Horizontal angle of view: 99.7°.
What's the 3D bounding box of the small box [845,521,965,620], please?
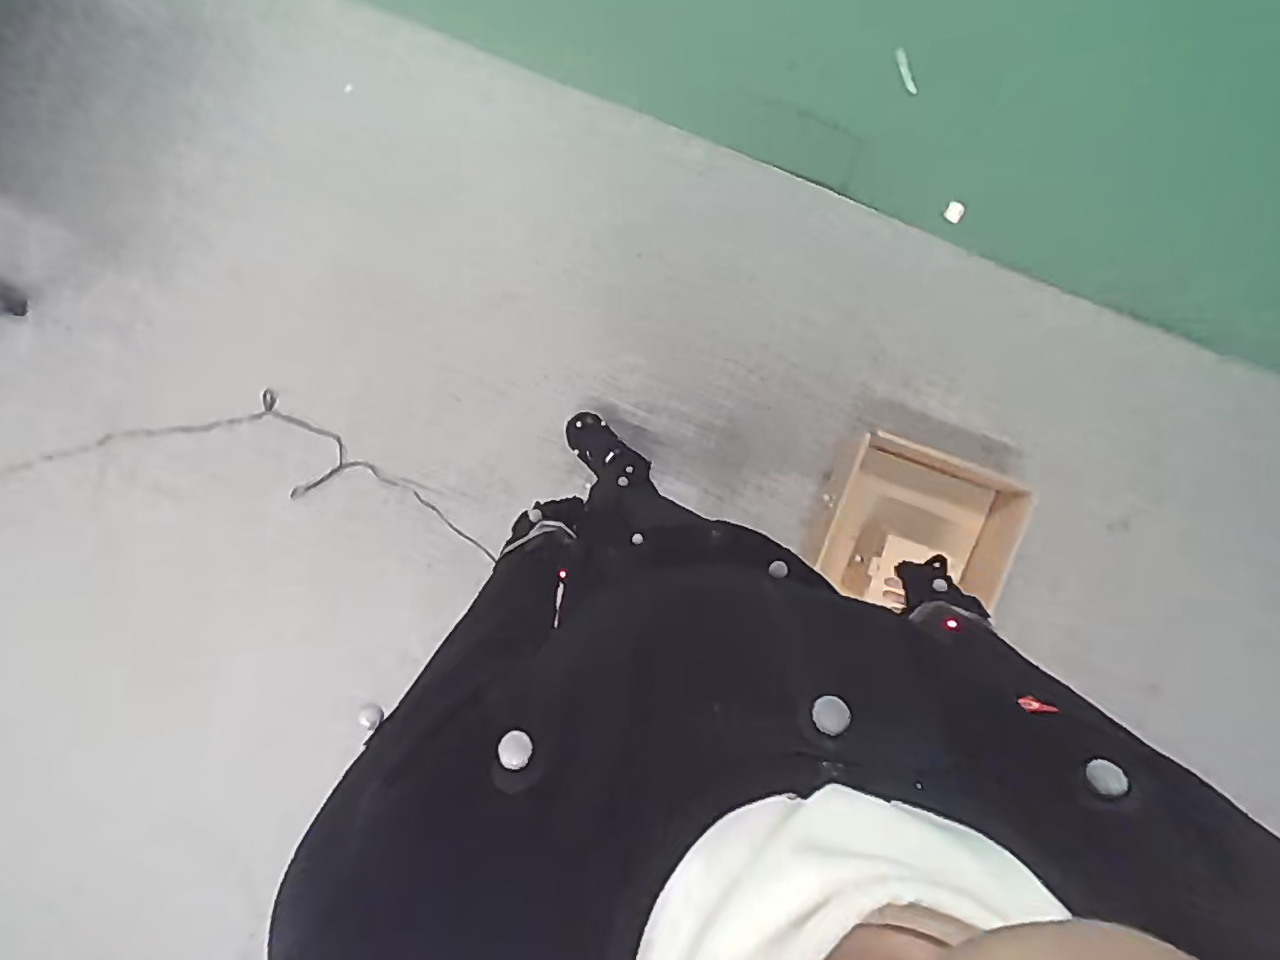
[{"bbox_3d":[0.615,0.204,1.281,0.179,0.176,0.168,22,94,3],"label":"small box"}]
